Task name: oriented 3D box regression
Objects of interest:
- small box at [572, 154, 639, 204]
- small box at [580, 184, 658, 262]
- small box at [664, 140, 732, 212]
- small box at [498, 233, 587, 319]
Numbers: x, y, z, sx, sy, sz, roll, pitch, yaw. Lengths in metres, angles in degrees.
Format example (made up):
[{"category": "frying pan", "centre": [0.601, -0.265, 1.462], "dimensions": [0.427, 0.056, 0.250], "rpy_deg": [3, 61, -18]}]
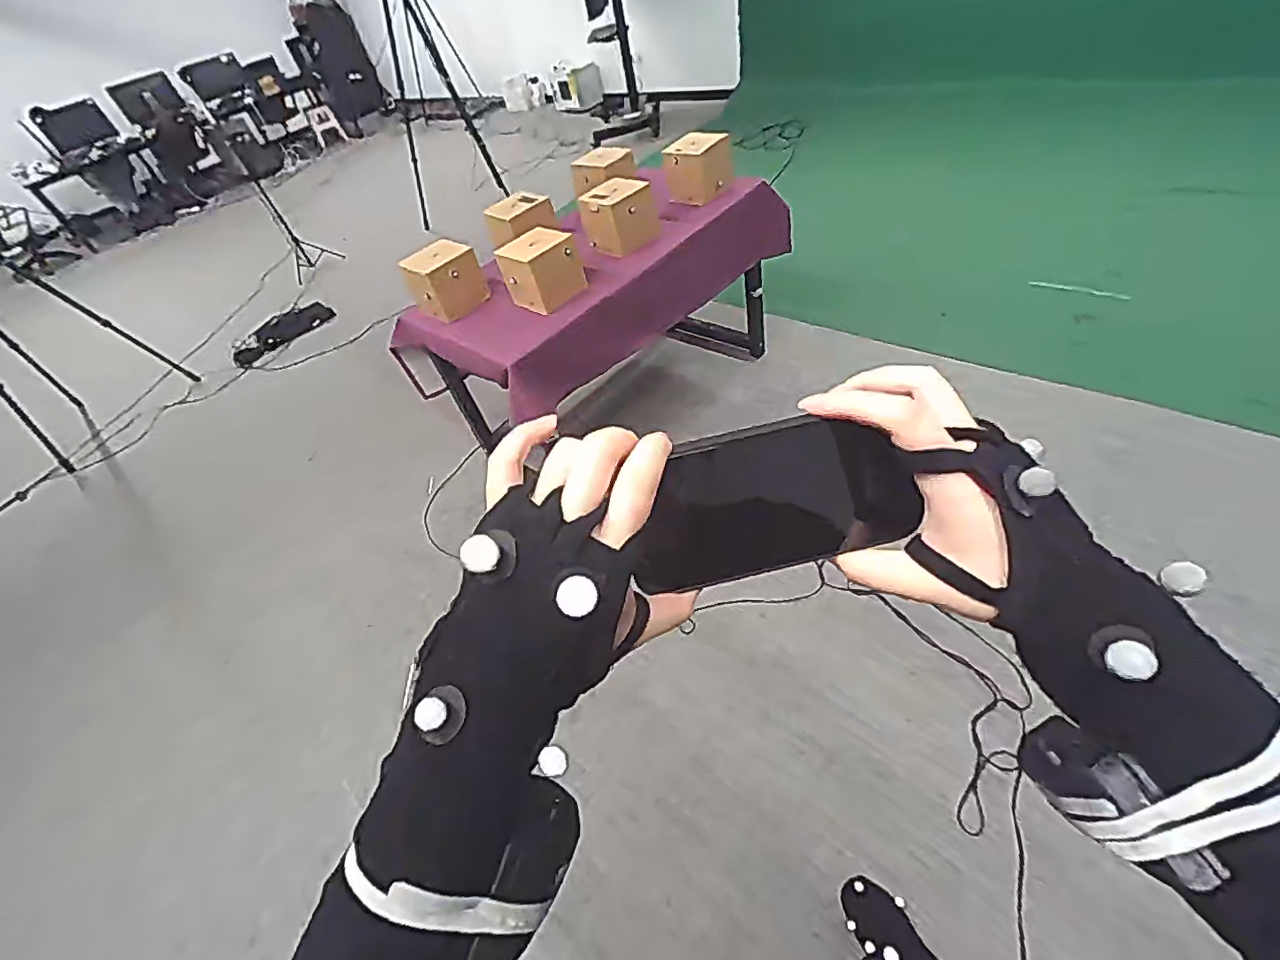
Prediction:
[{"category": "small box", "centre": [-0.119, -1.087, 2.006], "dimensions": [0.179, 0.176, 0.168], "rpy_deg": [25, 59, 33]}, {"category": "small box", "centre": [-0.061, -0.831, 1.751], "dimensions": [0.179, 0.176, 0.168], "rpy_deg": [-41, 50, -23]}, {"category": "small box", "centre": [0.209, -1.071, 1.900], "dimensions": [0.168, 0.176, 0.179], "rpy_deg": [26, 59, 34]}, {"category": "small box", "centre": [-0.281, -0.601, 1.598], "dimensions": [0.168, 0.176, 0.179], "rpy_deg": [29, 60, 35]}]
